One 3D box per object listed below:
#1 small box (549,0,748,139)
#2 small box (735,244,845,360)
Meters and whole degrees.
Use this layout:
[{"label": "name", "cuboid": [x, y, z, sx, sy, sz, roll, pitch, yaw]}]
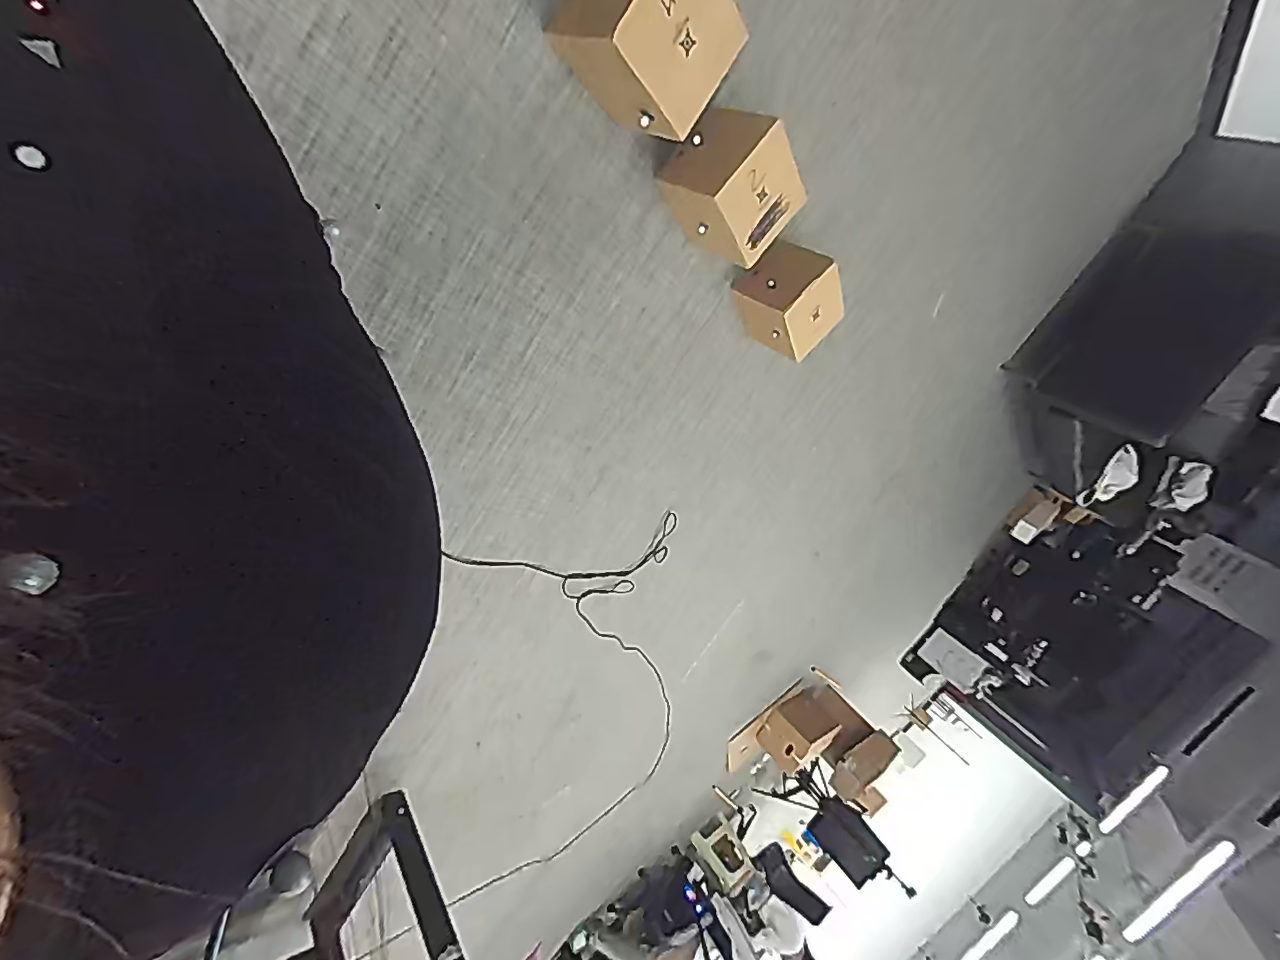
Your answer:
[{"label": "small box", "cuboid": [0.010, -0.620, 0.748, 0.179, 0.176, 0.168, 23, 105, -51]}, {"label": "small box", "cuboid": [0.346, -0.419, 1.255, 0.168, 0.176, 0.179, -45, 143, -2]}]
